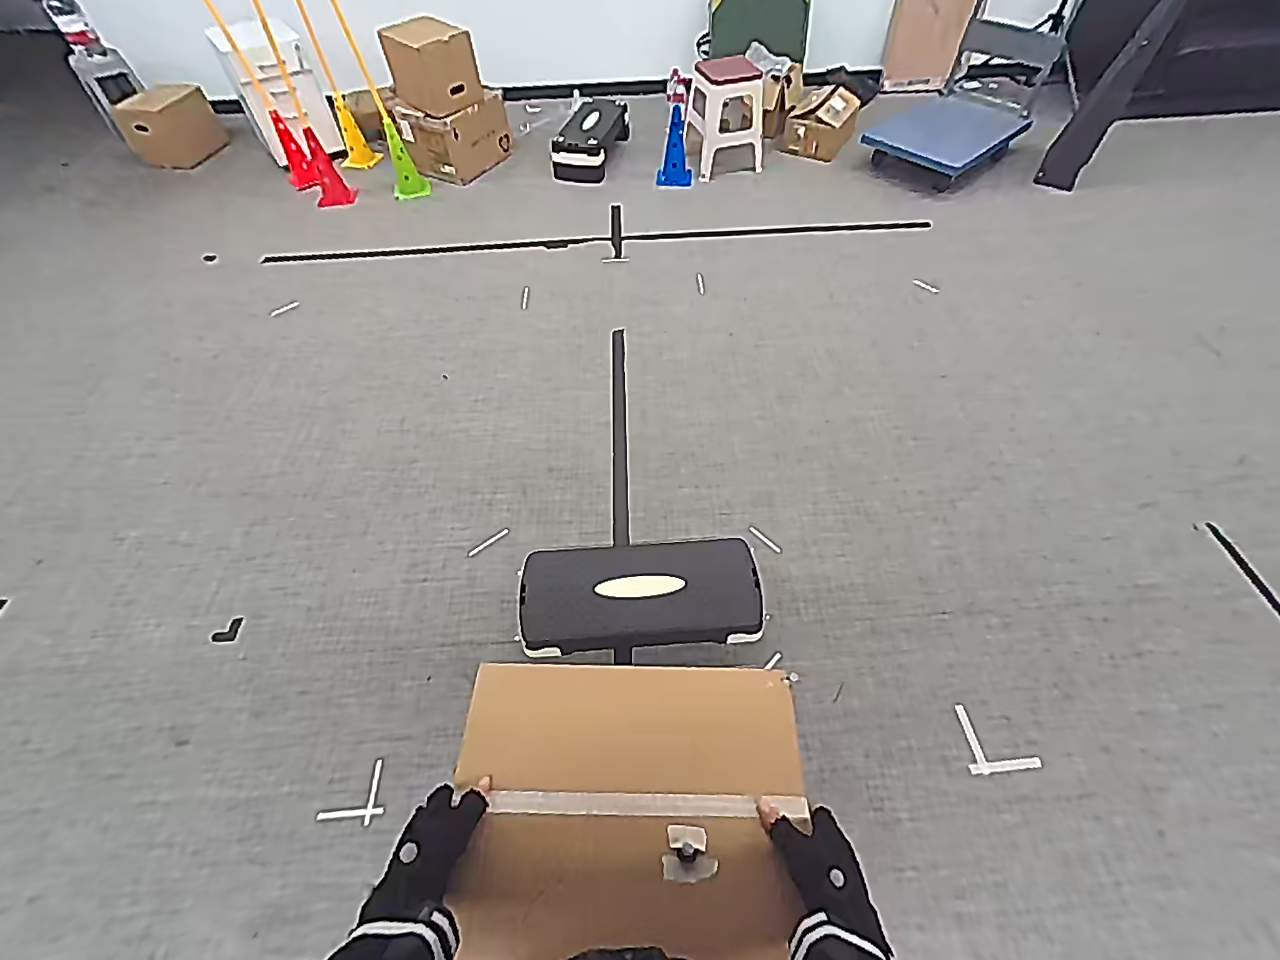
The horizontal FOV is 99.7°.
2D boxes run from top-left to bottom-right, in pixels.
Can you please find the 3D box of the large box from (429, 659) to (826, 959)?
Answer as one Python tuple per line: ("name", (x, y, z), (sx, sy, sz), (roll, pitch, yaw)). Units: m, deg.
("large box", (-0.011, 0.455, 0.741), (0.408, 0.320, 0.320), (1, 52, 2))
